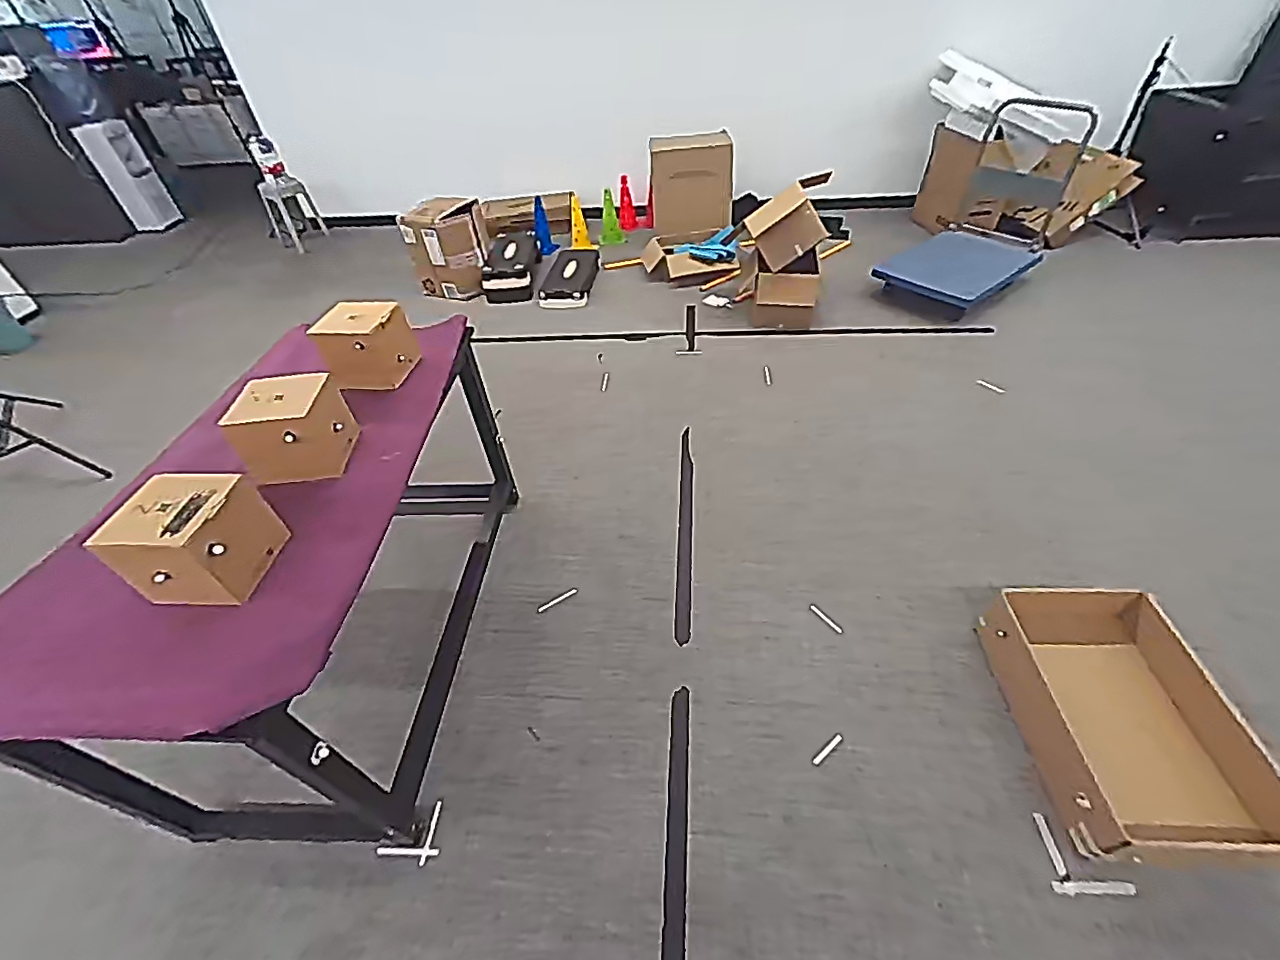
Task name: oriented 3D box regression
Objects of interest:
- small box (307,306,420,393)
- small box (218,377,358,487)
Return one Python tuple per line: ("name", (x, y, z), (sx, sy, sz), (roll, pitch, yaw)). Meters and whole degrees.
("small box", (-0.720, -0.343, 1.428), (0.179, 0.176, 0.168), (2, 45, 8))
("small box", (-0.751, -0.103, 1.182), (0.179, 0.176, 0.168), (-7, 43, -2))
